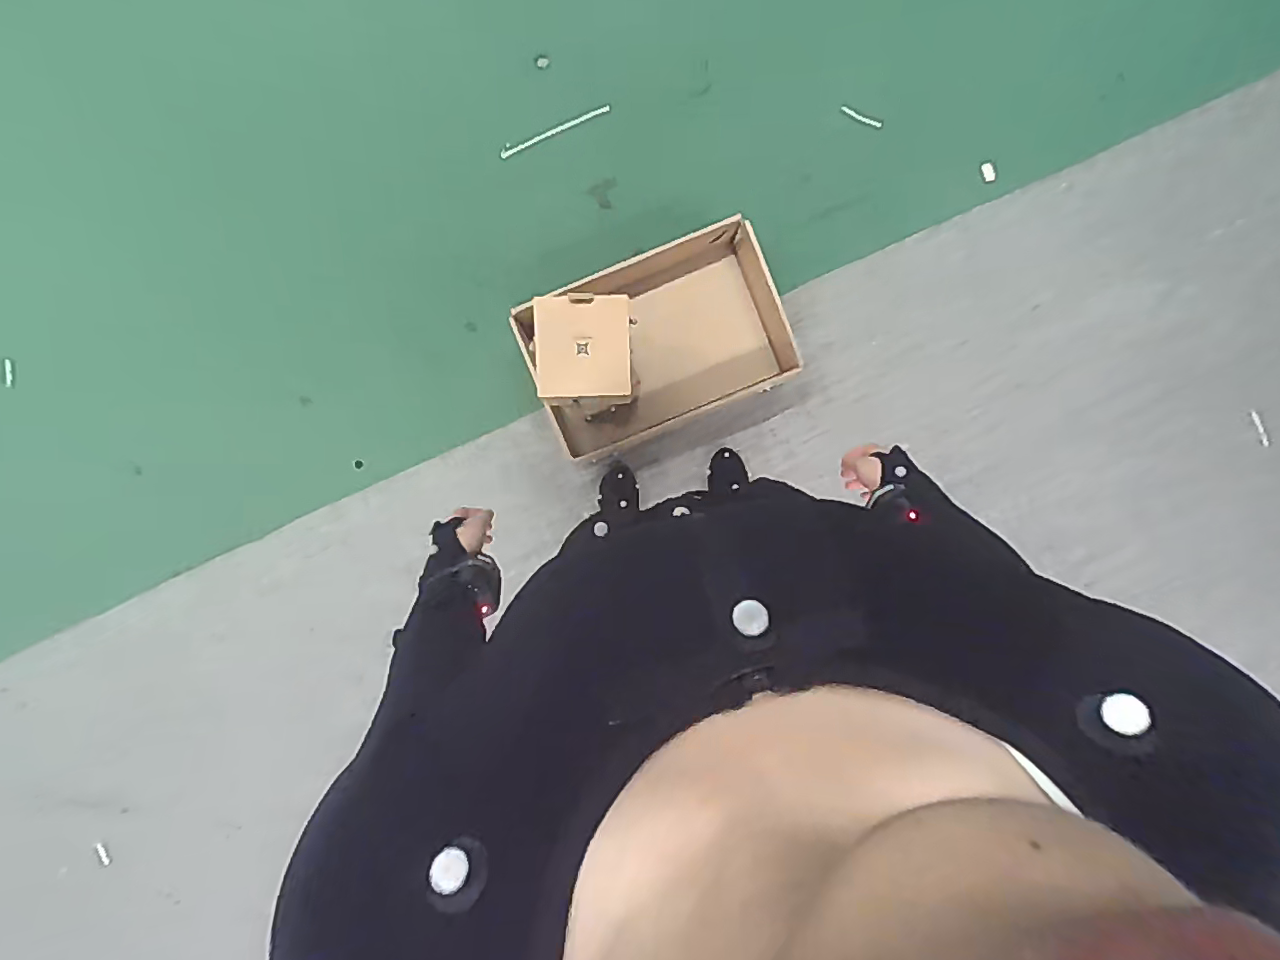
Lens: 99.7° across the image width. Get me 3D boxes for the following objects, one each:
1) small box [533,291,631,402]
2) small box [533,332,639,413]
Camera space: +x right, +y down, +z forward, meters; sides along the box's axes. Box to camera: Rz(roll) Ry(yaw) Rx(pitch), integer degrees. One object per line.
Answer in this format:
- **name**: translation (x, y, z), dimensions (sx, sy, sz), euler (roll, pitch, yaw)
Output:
- **small box**: translation (-0.100, -0.238, 1.002), dimensions (0.168, 0.176, 0.179), euler (-2, 92, -2)
- **small box**: translation (-0.109, -0.252, 1.164), dimensions (0.168, 0.176, 0.179), euler (-24, 93, -1)
